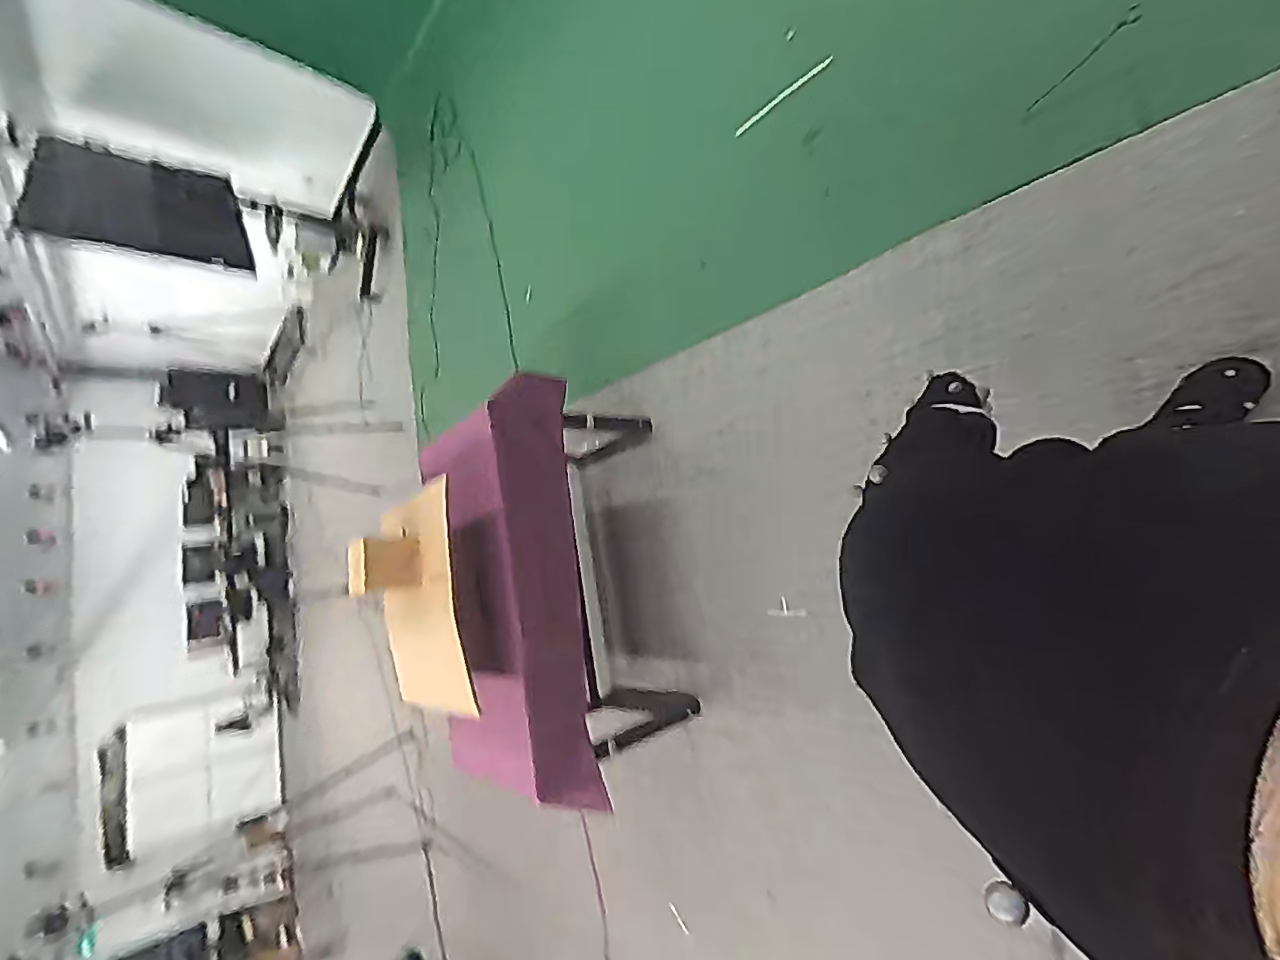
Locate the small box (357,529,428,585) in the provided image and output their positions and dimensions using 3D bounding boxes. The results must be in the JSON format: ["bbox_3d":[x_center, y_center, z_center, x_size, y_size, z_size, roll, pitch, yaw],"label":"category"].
[{"bbox_3d":[-0.797,0.248,1.739,0.179,0.176,0.168,-16,76,46],"label":"small box"}]
